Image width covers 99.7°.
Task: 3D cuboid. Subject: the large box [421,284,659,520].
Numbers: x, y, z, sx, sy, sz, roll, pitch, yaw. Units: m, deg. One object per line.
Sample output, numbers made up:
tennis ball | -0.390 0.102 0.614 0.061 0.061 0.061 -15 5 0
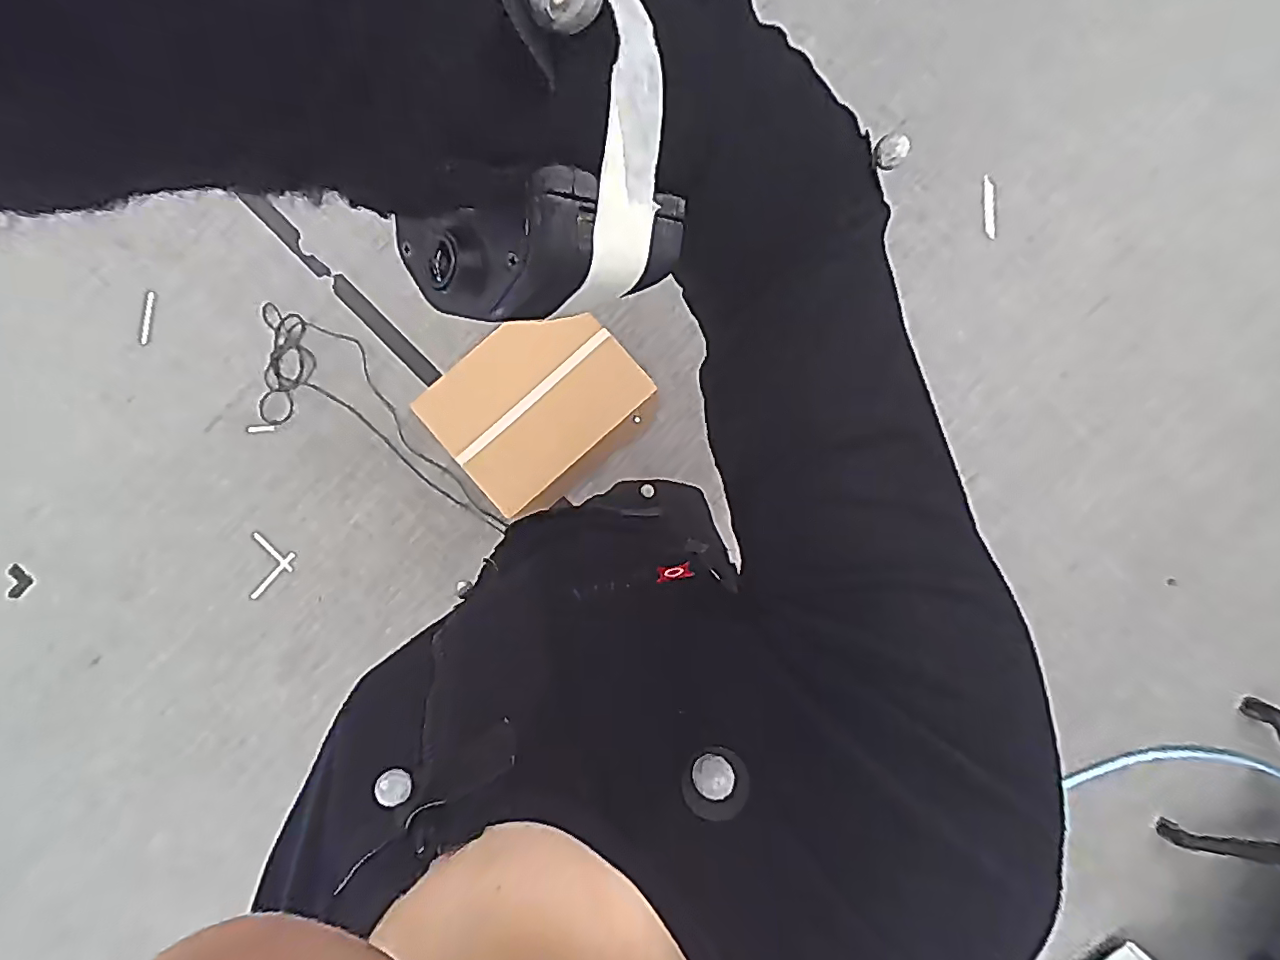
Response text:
large box | -0.202 -0.157 1.250 0.408 0.320 0.320 -41 87 0
